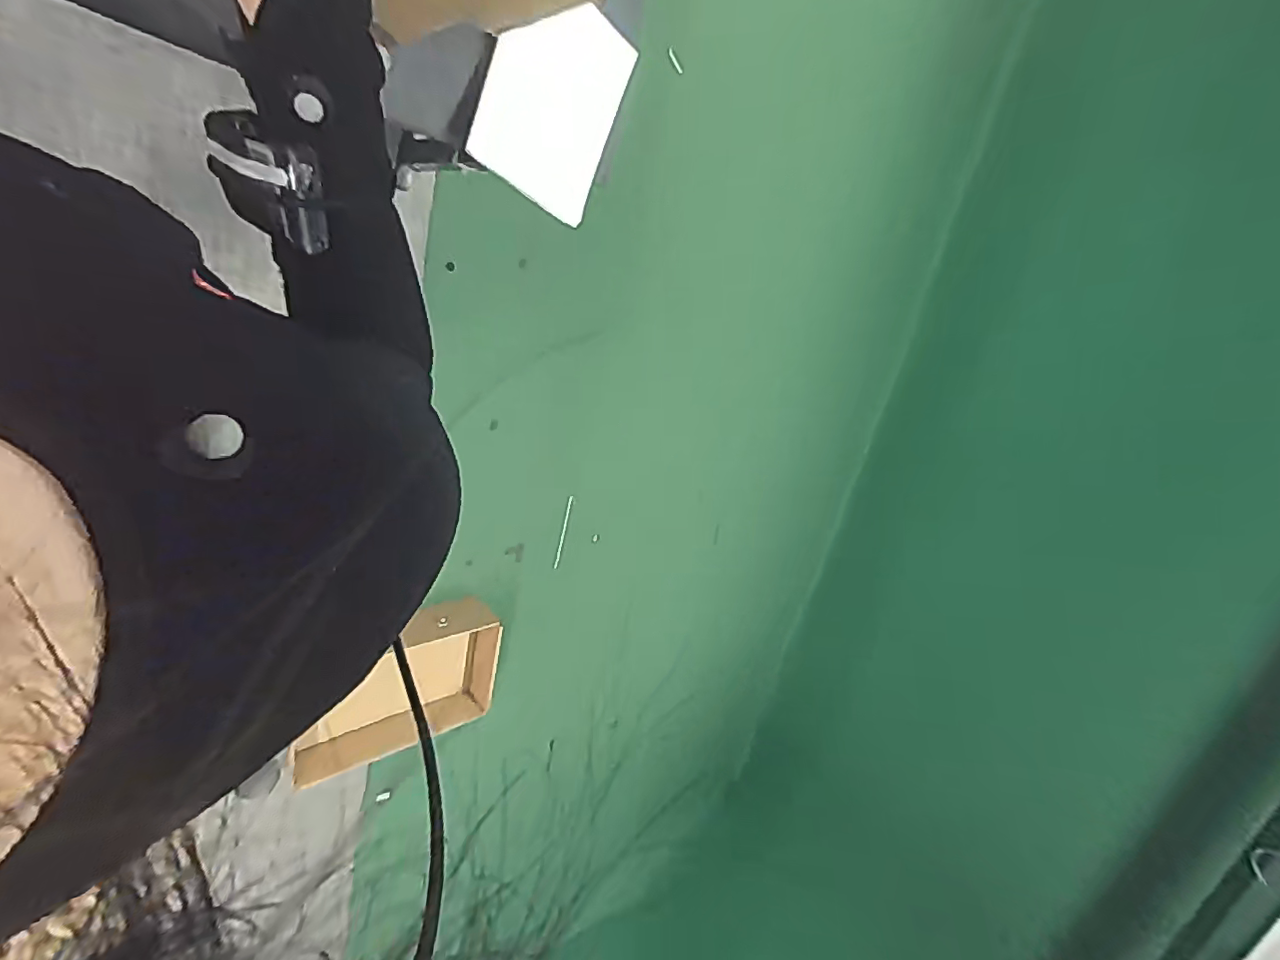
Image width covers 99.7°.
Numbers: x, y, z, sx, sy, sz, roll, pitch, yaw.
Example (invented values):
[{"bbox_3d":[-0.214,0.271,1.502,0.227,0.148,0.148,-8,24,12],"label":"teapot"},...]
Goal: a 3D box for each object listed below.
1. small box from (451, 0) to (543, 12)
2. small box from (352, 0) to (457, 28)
[{"bbox_3d":[-0.135,-0.483,0.390,0.179,0.176,0.168,-4,114,-43],"label":"small box"},{"bbox_3d":[-0.238,-0.567,0.487,0.168,0.176,0.179,18,99,-48],"label":"small box"}]
